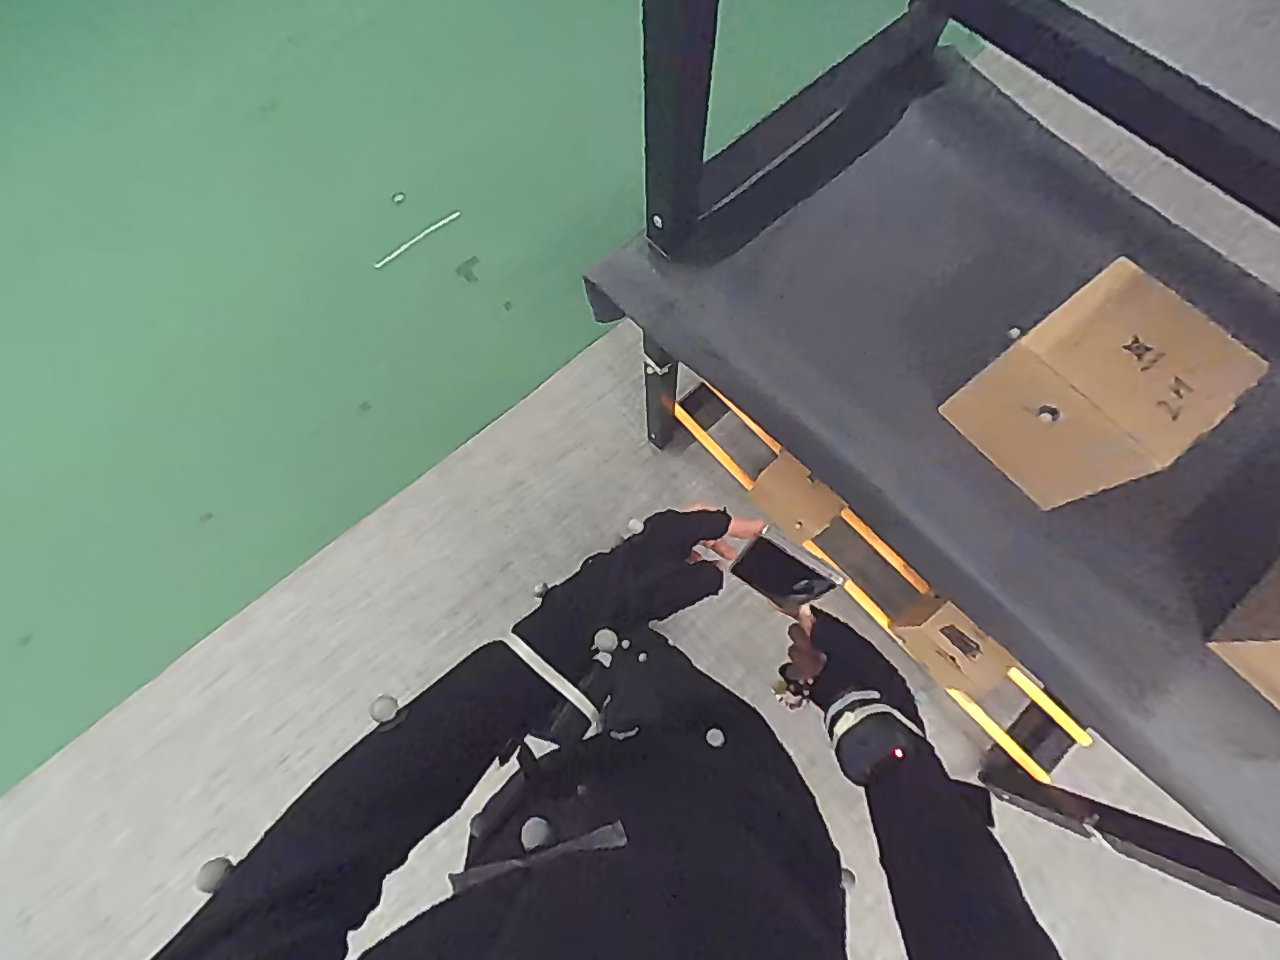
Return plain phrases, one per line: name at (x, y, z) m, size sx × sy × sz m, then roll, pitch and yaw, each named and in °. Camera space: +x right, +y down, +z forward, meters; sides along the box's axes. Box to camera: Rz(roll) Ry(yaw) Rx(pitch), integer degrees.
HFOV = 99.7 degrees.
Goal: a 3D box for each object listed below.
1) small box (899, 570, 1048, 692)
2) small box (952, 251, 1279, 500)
small box at (0.671, 0.312, 1.120) m, size 0.179 × 0.176 × 0.168 m, roll -37°, pitch 76°, yaw -9°
small box at (0.498, -0.104, 0.601) m, size 0.168 × 0.176 × 0.179 m, roll -38°, pitch 75°, yaw -9°
